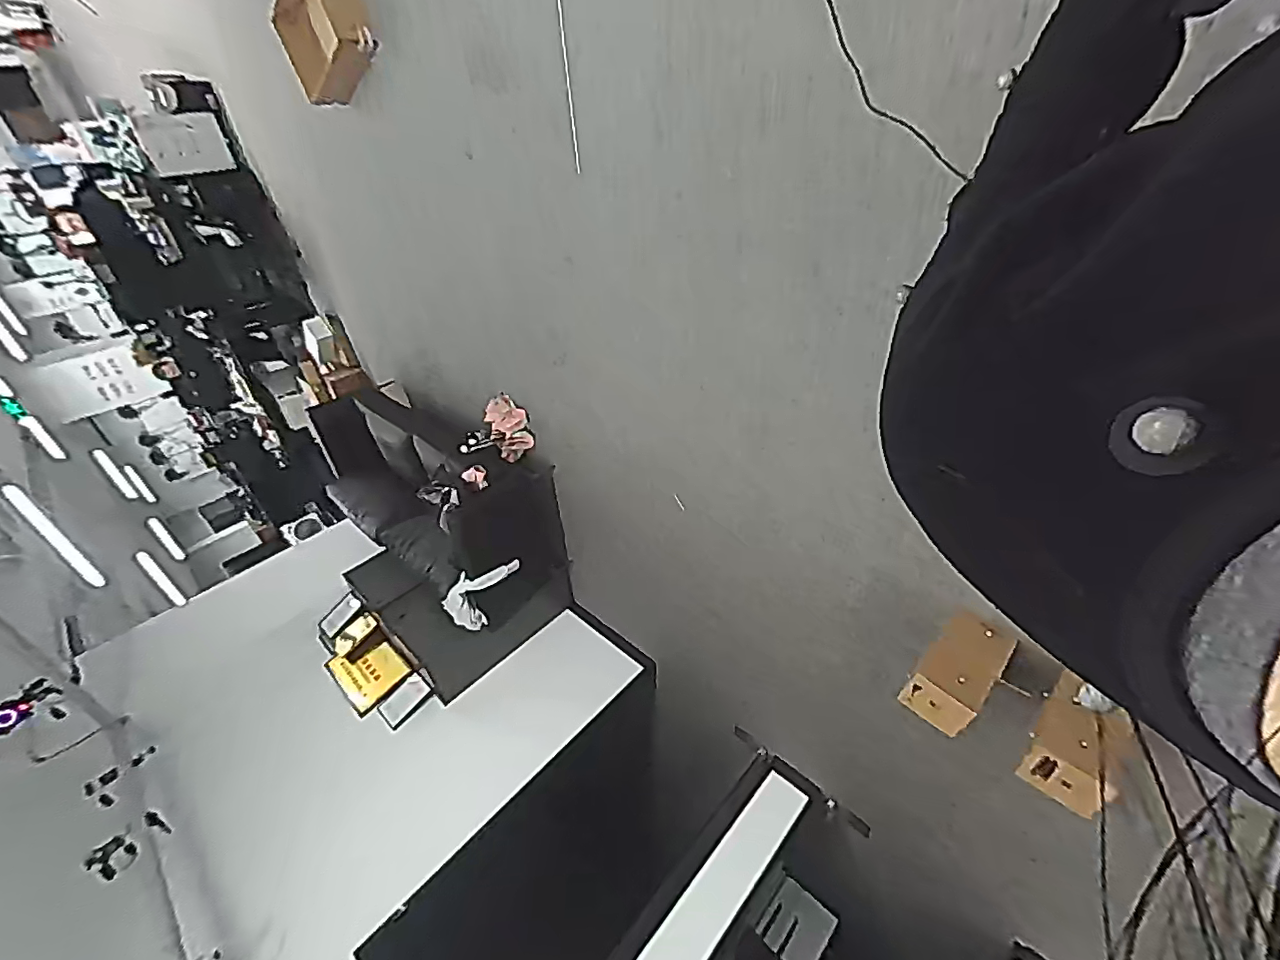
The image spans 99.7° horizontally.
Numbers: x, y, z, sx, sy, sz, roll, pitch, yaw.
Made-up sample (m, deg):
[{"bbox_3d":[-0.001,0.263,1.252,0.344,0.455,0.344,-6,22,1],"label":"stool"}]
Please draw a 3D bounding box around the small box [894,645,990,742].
[{"bbox_3d":[0.908,0.635,1.621,0.179,0.176,0.168,34,139,28],"label":"small box"}]

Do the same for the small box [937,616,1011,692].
[{"bbox_3d":[1.032,0.570,1.709,0.168,0.176,0.179,34,139,28],"label":"small box"}]
